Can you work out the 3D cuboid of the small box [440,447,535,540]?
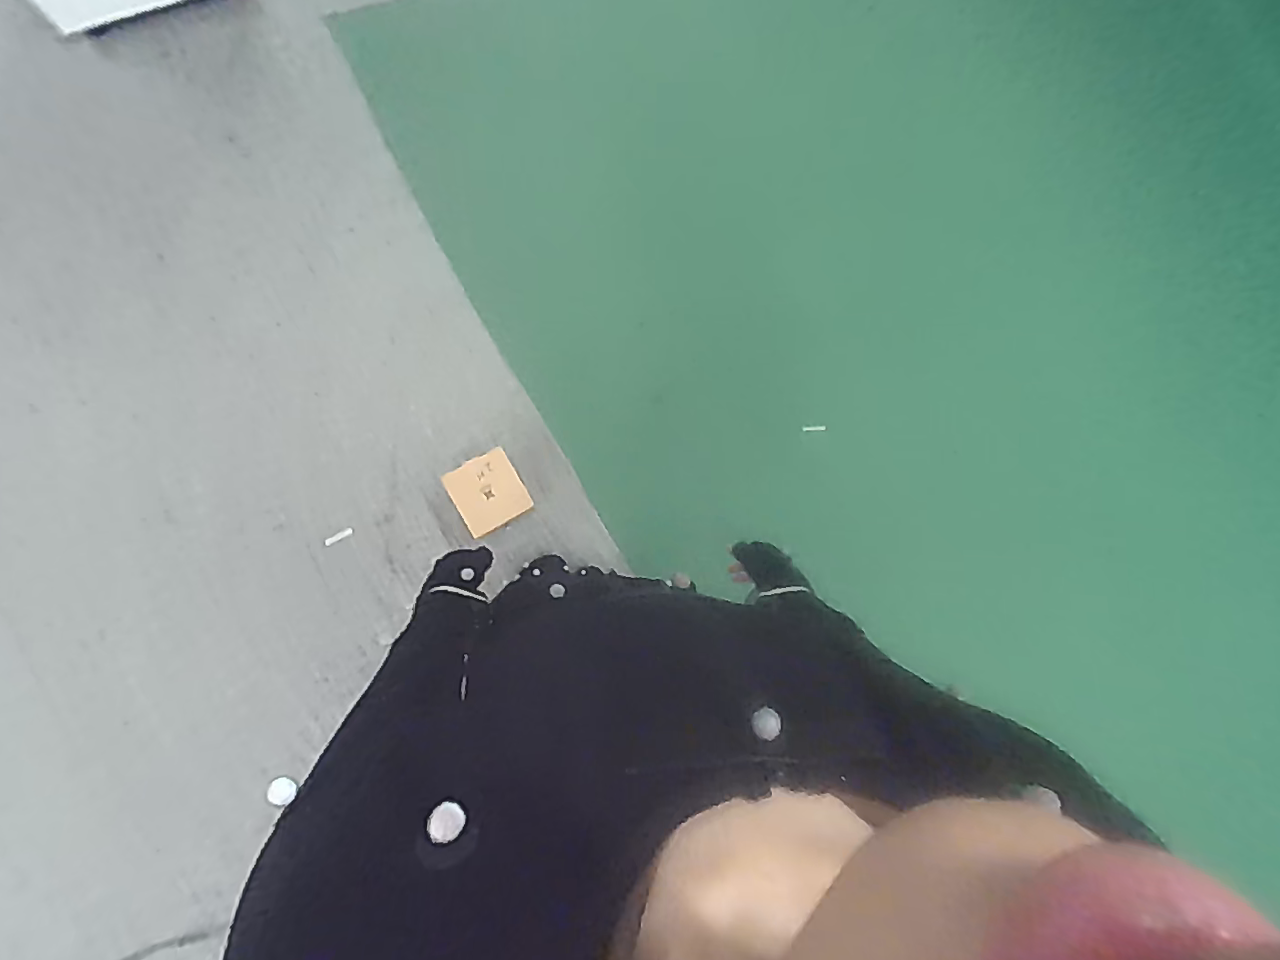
[{"bbox_3d":[-0.379,0.038,1.380,0.168,0.176,0.179,-30,88,-12],"label":"small box"}]
